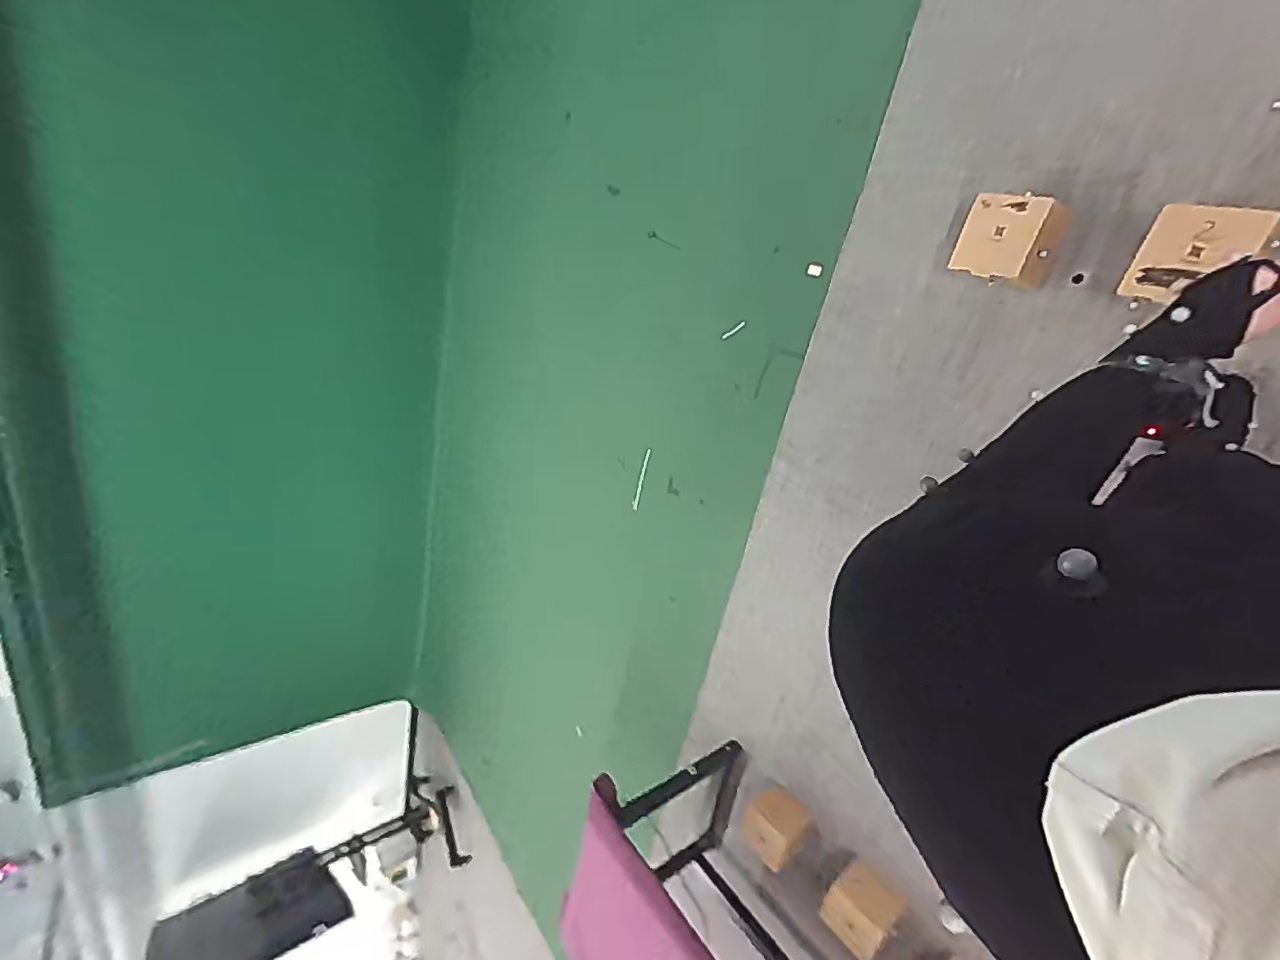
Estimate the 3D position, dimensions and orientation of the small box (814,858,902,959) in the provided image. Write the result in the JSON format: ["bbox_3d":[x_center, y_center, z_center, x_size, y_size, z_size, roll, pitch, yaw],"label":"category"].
[{"bbox_3d":[0.705,1.369,1.746,0.179,0.176,0.168,33,119,43],"label":"small box"}]

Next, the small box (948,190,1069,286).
[{"bbox_3d":[0.895,-0.581,1.310,0.168,0.176,0.179,36,120,42],"label":"small box"}]

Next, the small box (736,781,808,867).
[{"bbox_3d":[0.488,1.254,1.987,0.179,0.176,0.168,29,115,44],"label":"small box"}]
